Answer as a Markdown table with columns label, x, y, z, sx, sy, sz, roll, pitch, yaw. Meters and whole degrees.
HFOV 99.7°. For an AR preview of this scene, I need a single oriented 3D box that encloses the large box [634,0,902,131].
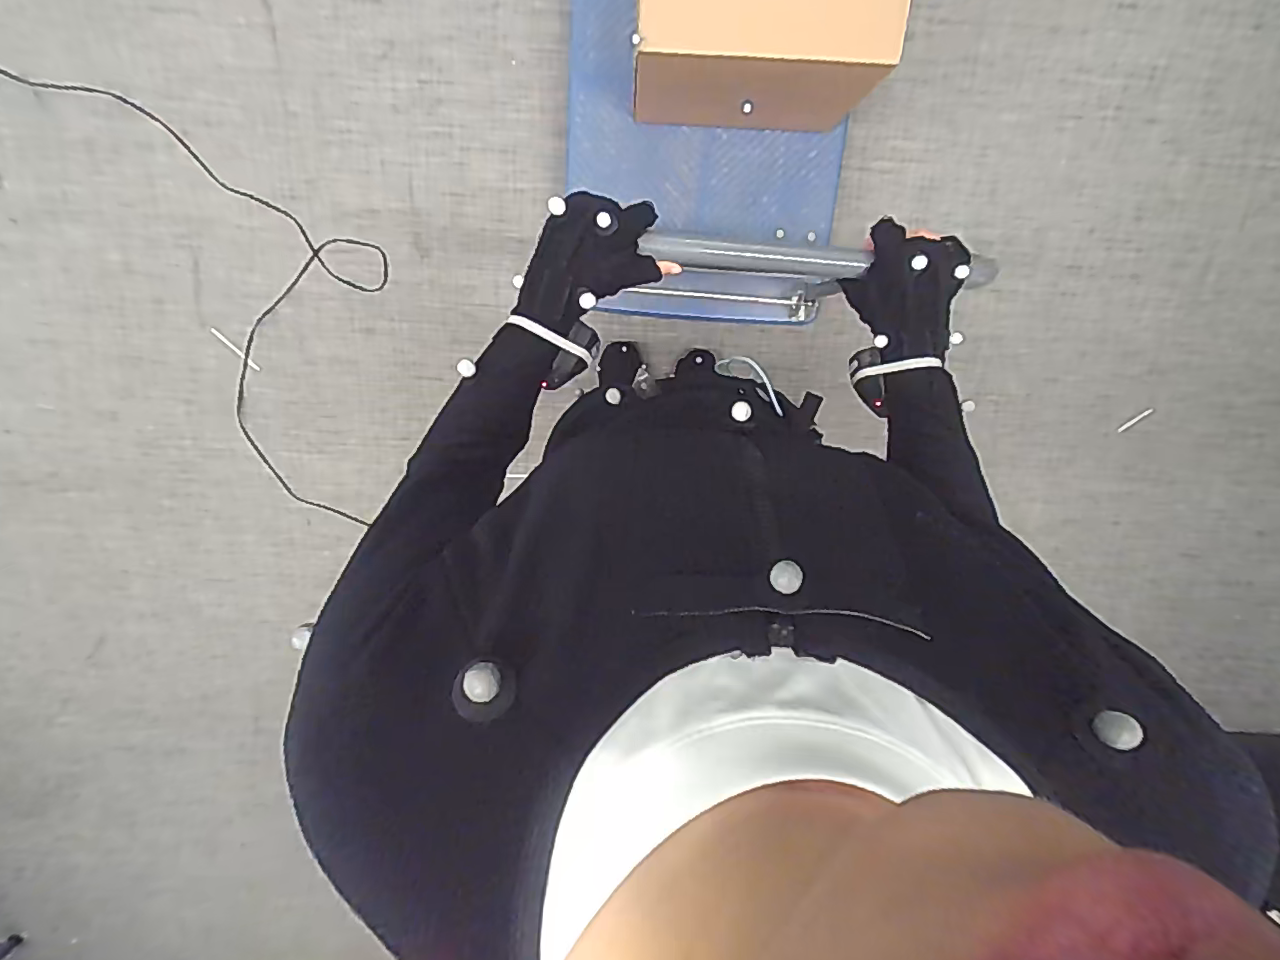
| label | x | y | z | sx | sy | sz | roll | pitch | yaw |
| --- | --- | --- | --- | --- | --- | --- | --- | --- | --- |
| large box | 0.197 | -0.827 | 0.929 | 0.408 | 0.320 | 0.320 | 2 | 105 | -1 |
